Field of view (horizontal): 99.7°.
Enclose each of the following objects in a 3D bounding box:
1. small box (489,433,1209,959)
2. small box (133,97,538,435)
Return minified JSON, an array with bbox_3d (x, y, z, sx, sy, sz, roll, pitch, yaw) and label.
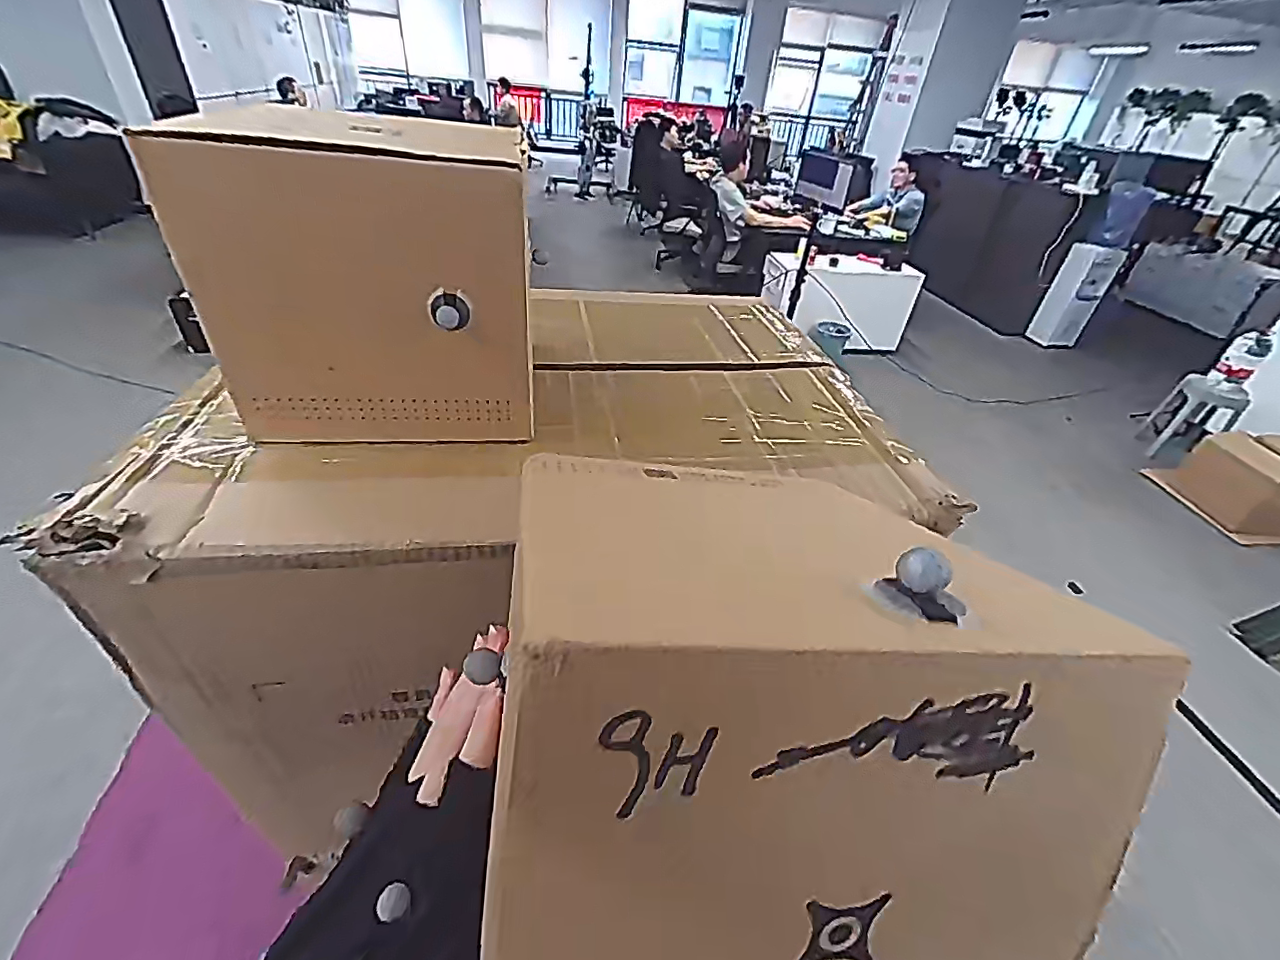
[{"bbox_3d":[0.034,0.088,0.211,0.168,0.179,0.176,5,13,-14],"label":"small box"},{"bbox_3d":[-0.158,-0.141,0.362,0.179,0.176,0.168,-2,37,-11],"label":"small box"}]
